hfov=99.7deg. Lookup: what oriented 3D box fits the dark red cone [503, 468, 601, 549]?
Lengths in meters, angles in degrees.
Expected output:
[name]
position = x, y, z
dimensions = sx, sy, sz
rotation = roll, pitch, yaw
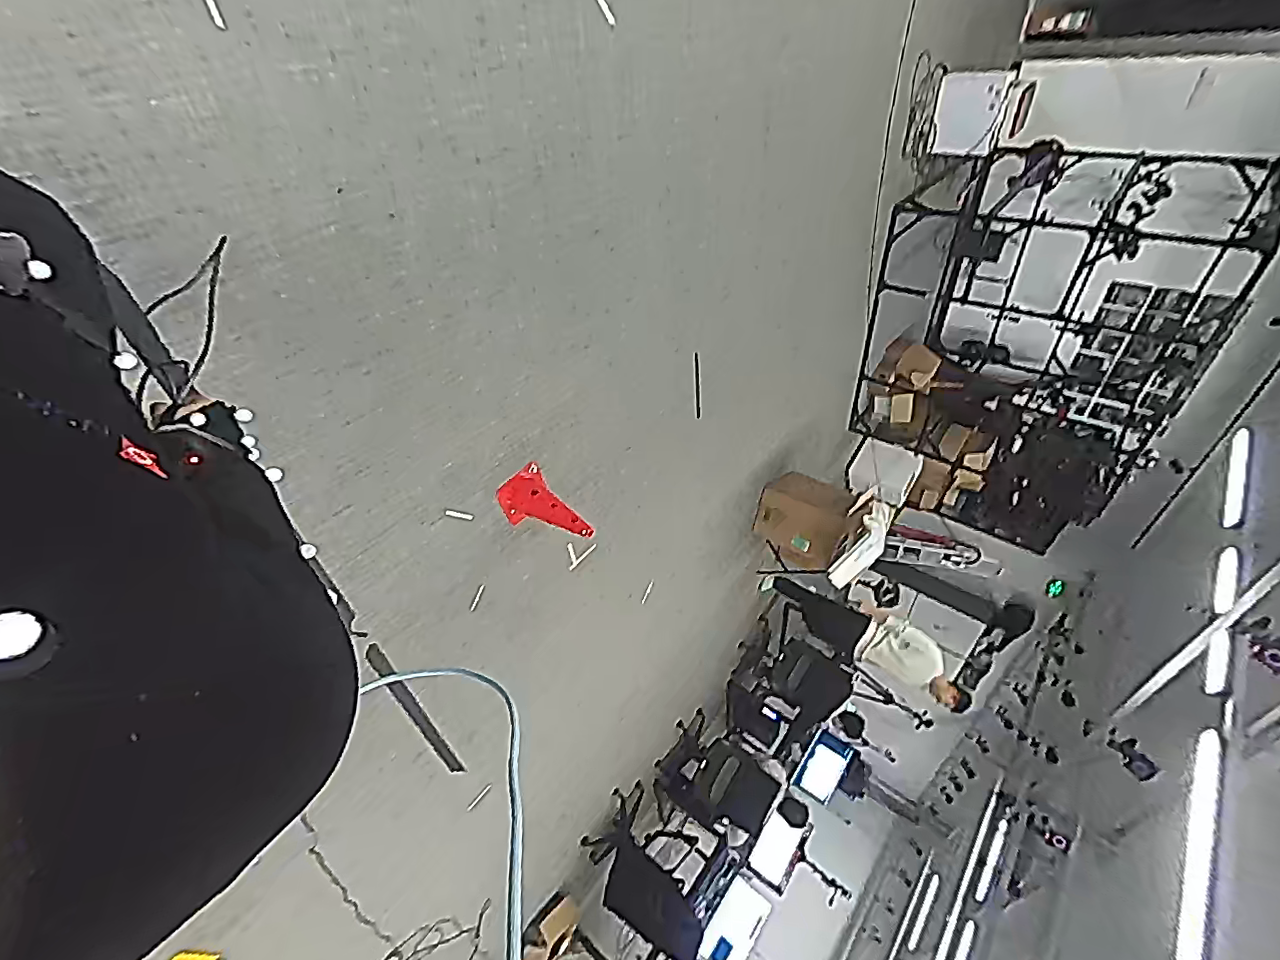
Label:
[dark red cone]
position = -0.289, 0.136, 1.918
dimensions = 0.201, 0.394, 0.202
rotation = -45, 143, -26
